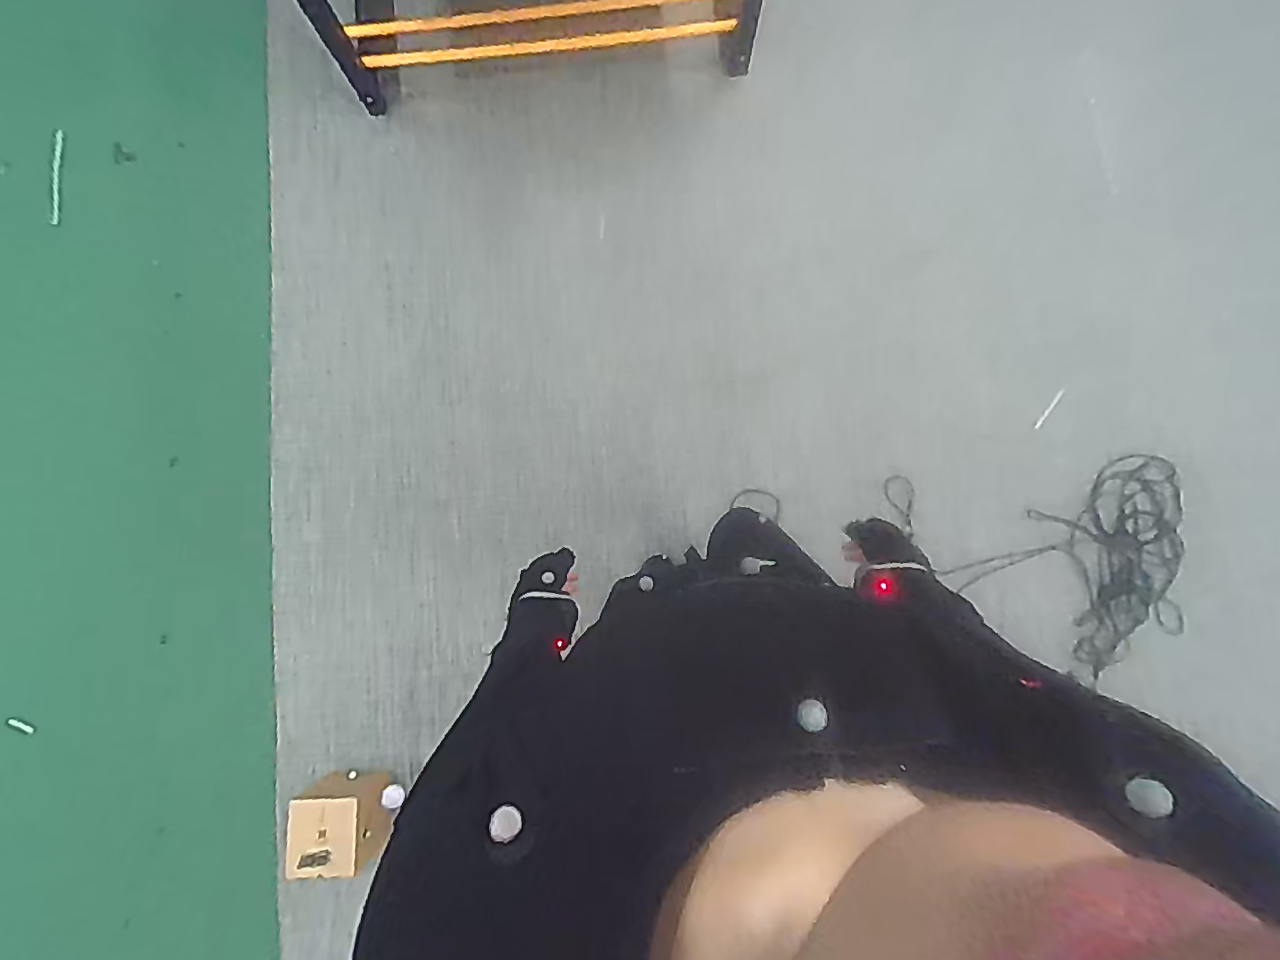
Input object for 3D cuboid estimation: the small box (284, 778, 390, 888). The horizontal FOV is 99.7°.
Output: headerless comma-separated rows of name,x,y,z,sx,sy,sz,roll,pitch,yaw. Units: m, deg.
small box,-0.730,0.854,1.320,0.168,0.176,0.179,-2,81,1
